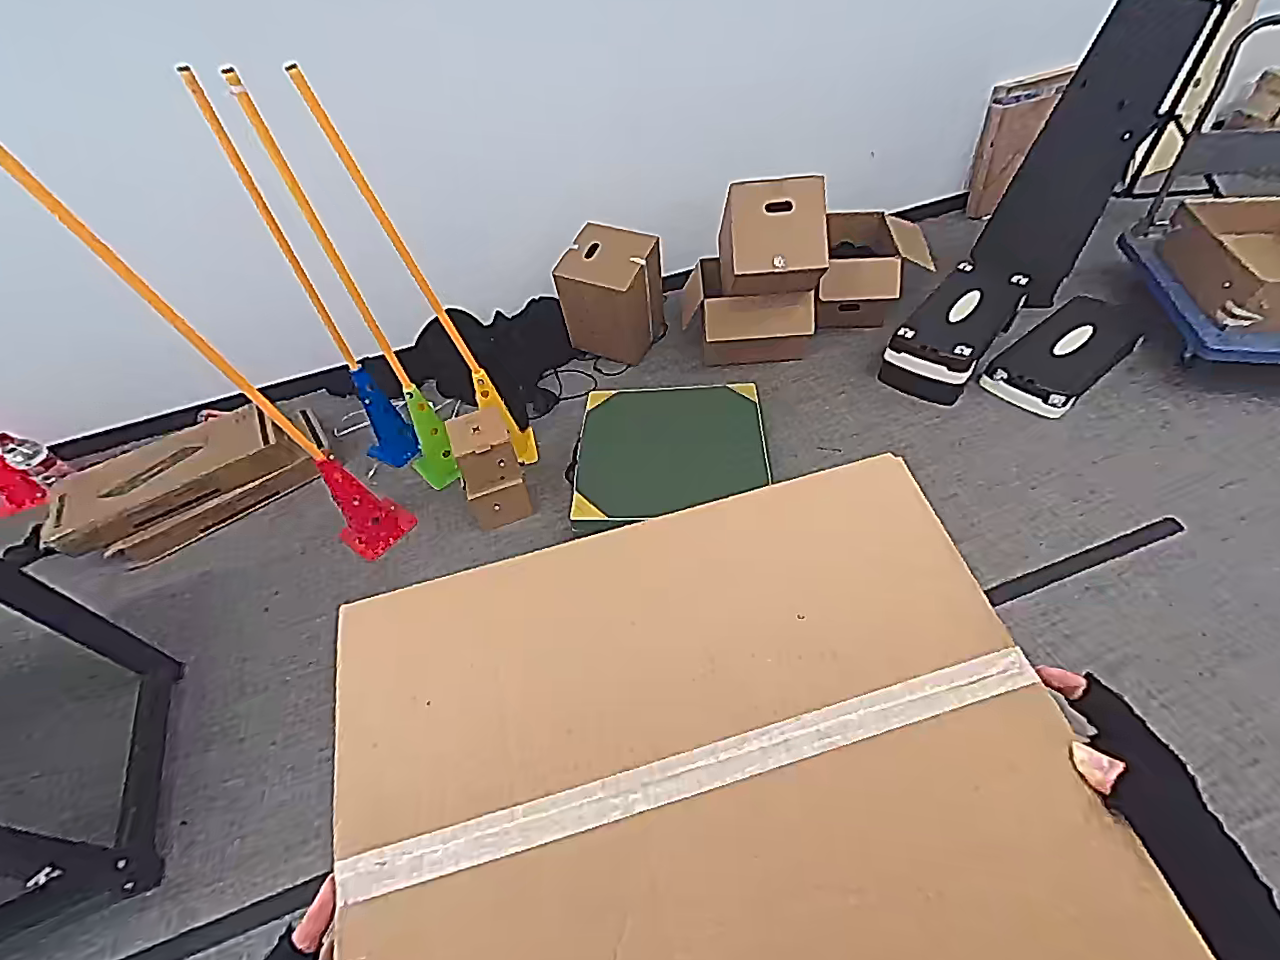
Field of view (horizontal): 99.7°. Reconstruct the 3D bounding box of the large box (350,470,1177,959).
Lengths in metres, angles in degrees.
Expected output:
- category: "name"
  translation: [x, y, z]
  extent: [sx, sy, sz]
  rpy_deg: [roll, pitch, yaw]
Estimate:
- category: "large box"
  translation: [0.044, 0.243, 0.442]
  extent: [0.408, 0.320, 0.320]
  rpy_deg: [-15, 59, -4]
